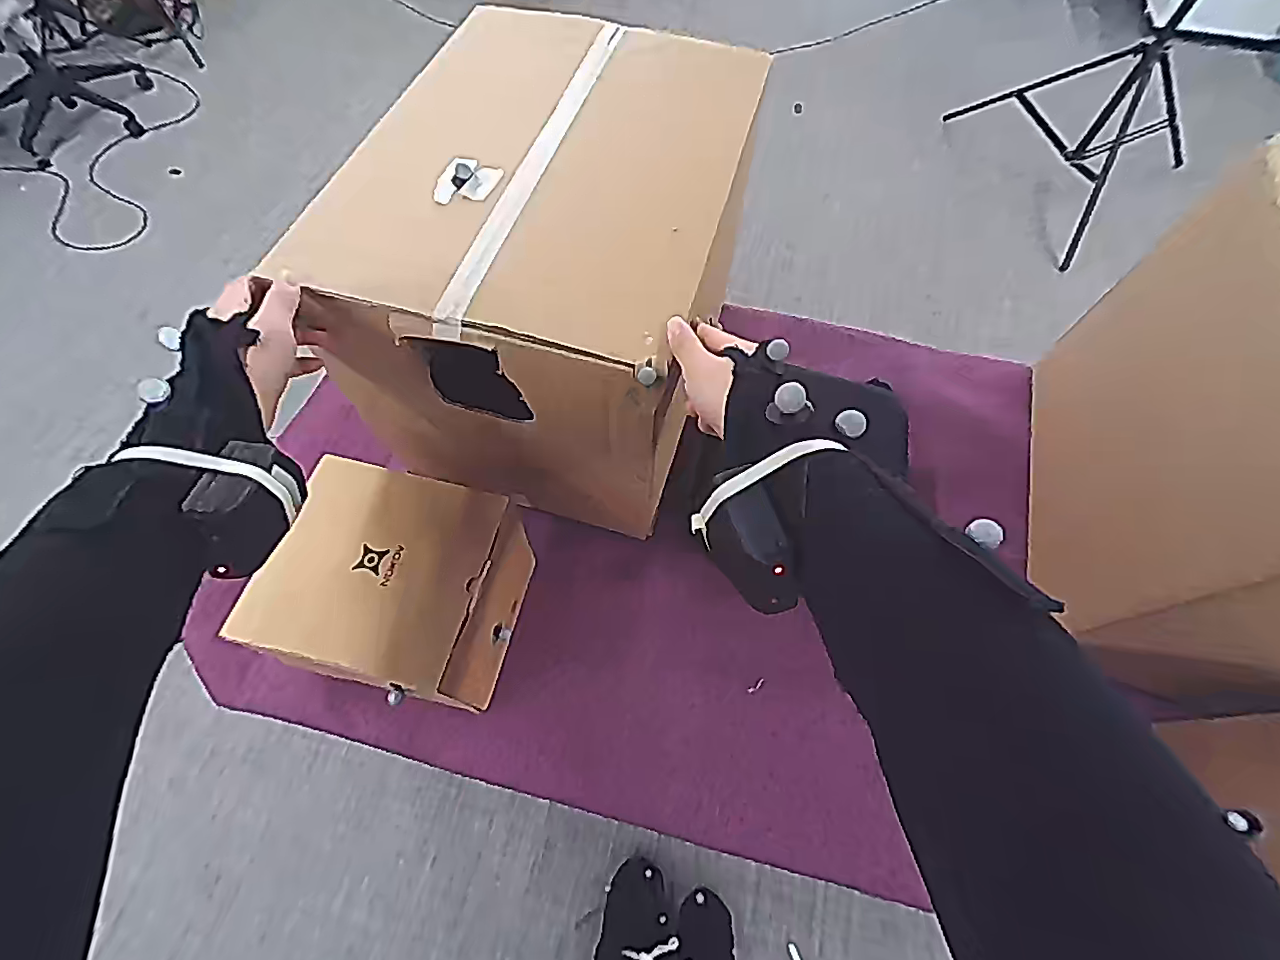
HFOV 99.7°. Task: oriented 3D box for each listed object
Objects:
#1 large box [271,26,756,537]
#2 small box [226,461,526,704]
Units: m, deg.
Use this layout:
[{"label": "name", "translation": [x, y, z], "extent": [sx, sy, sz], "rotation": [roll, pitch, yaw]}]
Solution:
[{"label": "large box", "translation": [-0.083, -0.201, 0.602], "extent": [0.320, 0.320, 0.408], "rotation": [14, 66, 7]}, {"label": "small box", "translation": [-0.223, 0.107, 0.517], "extent": [0.179, 0.176, 0.168], "rotation": [13, 62, 2]}]
